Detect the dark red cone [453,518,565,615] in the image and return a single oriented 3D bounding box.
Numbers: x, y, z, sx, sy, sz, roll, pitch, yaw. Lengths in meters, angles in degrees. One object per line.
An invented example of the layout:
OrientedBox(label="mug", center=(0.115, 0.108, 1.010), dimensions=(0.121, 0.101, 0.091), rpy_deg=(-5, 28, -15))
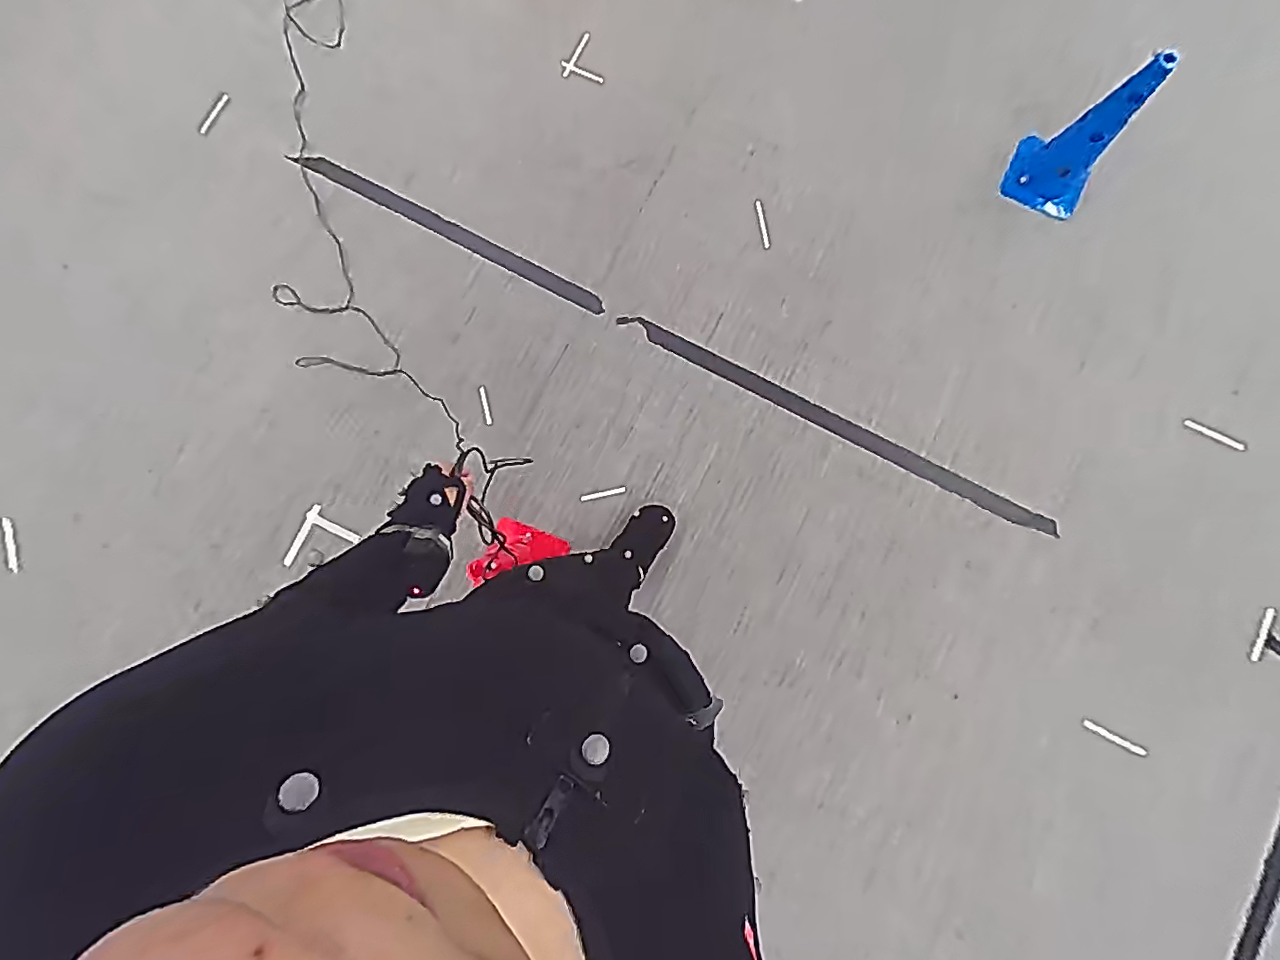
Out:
OrientedBox(label="dark red cone", center=(-0.311, 0.186, 1.173), dimensions=(0.202, 0.394, 0.201), rpy_deg=(20, 82, 4))

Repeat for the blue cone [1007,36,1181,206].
OrientedBox(label="blue cone", center=(1.098, -0.862, 1.295), dimensions=(0.193, 0.380, 0.192), rpy_deg=(28, 83, 5))
